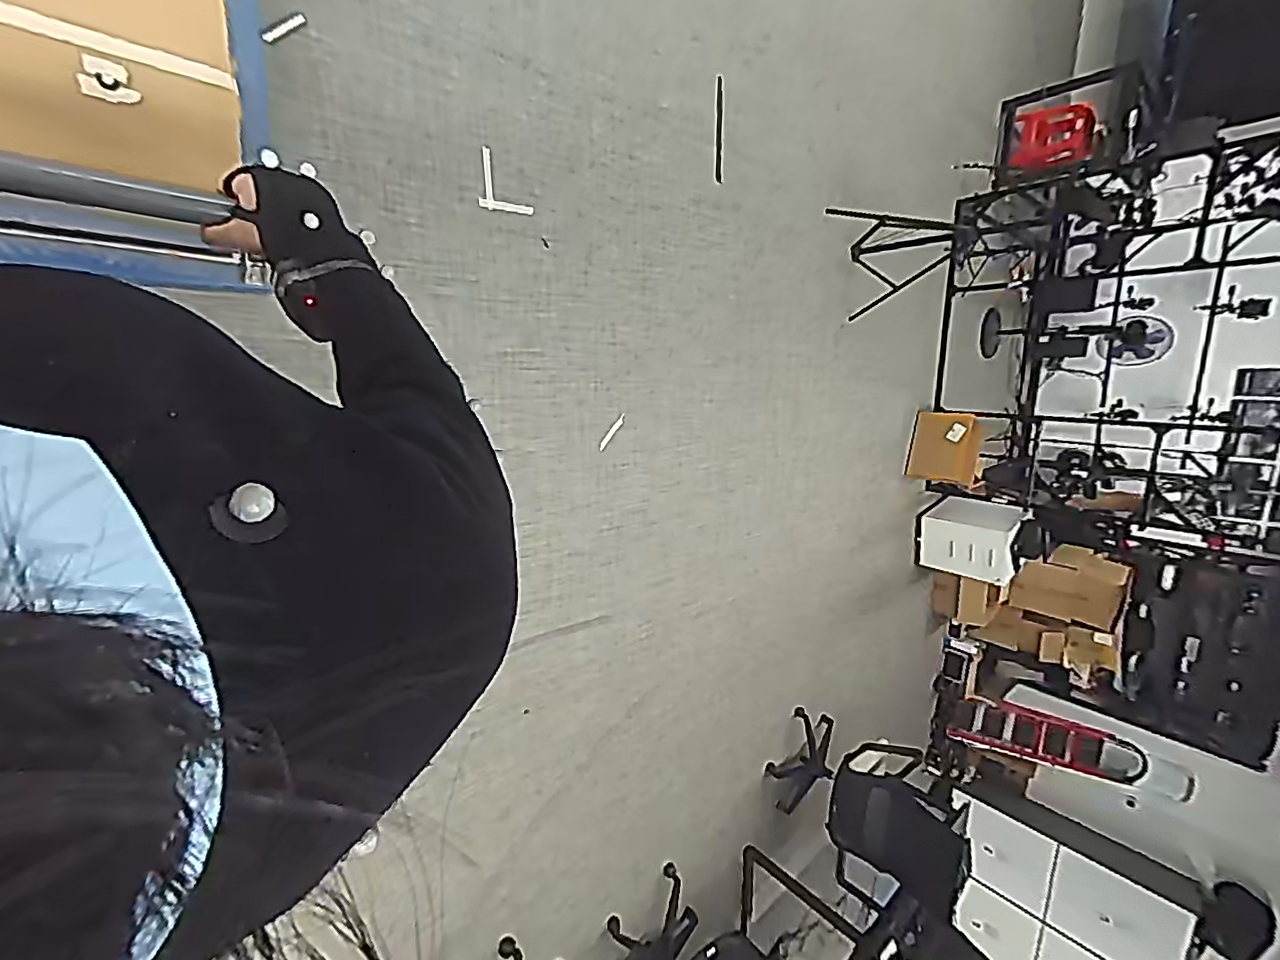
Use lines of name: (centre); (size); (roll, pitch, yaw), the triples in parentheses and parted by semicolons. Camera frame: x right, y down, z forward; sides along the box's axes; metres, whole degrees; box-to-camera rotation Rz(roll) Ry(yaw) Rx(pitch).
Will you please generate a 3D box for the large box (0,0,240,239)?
large box: (-0.842, -0.558, 0.754); (0.408, 0.320, 0.320); (-8, 104, -42)
